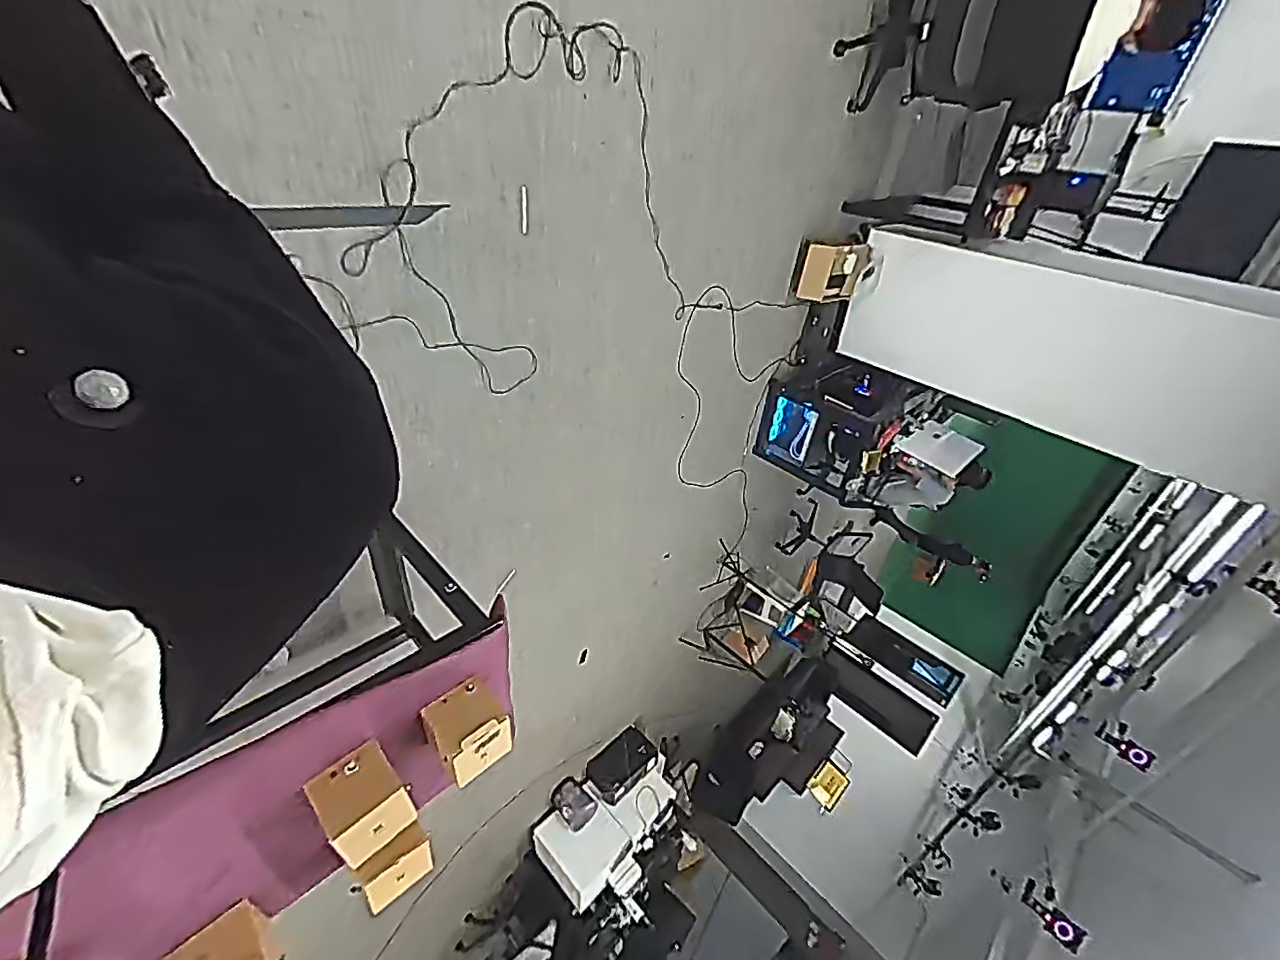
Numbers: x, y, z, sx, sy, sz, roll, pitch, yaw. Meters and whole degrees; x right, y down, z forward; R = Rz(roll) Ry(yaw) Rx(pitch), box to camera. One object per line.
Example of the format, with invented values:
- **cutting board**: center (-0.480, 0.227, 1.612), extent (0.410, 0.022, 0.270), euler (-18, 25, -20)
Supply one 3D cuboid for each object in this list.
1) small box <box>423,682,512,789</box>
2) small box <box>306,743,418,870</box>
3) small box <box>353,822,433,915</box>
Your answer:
- **small box**: center (-0.467, 0.681, 1.463), extent (0.168, 0.176, 0.179), euler (-27, 138, -37)
- **small box**: center (-0.663, 0.774, 1.295), extent (0.168, 0.176, 0.179), euler (-31, 139, -35)
- **small box**: center (-0.681, 1.005, 1.458), extent (0.168, 0.176, 0.179), euler (-23, 134, -39)
